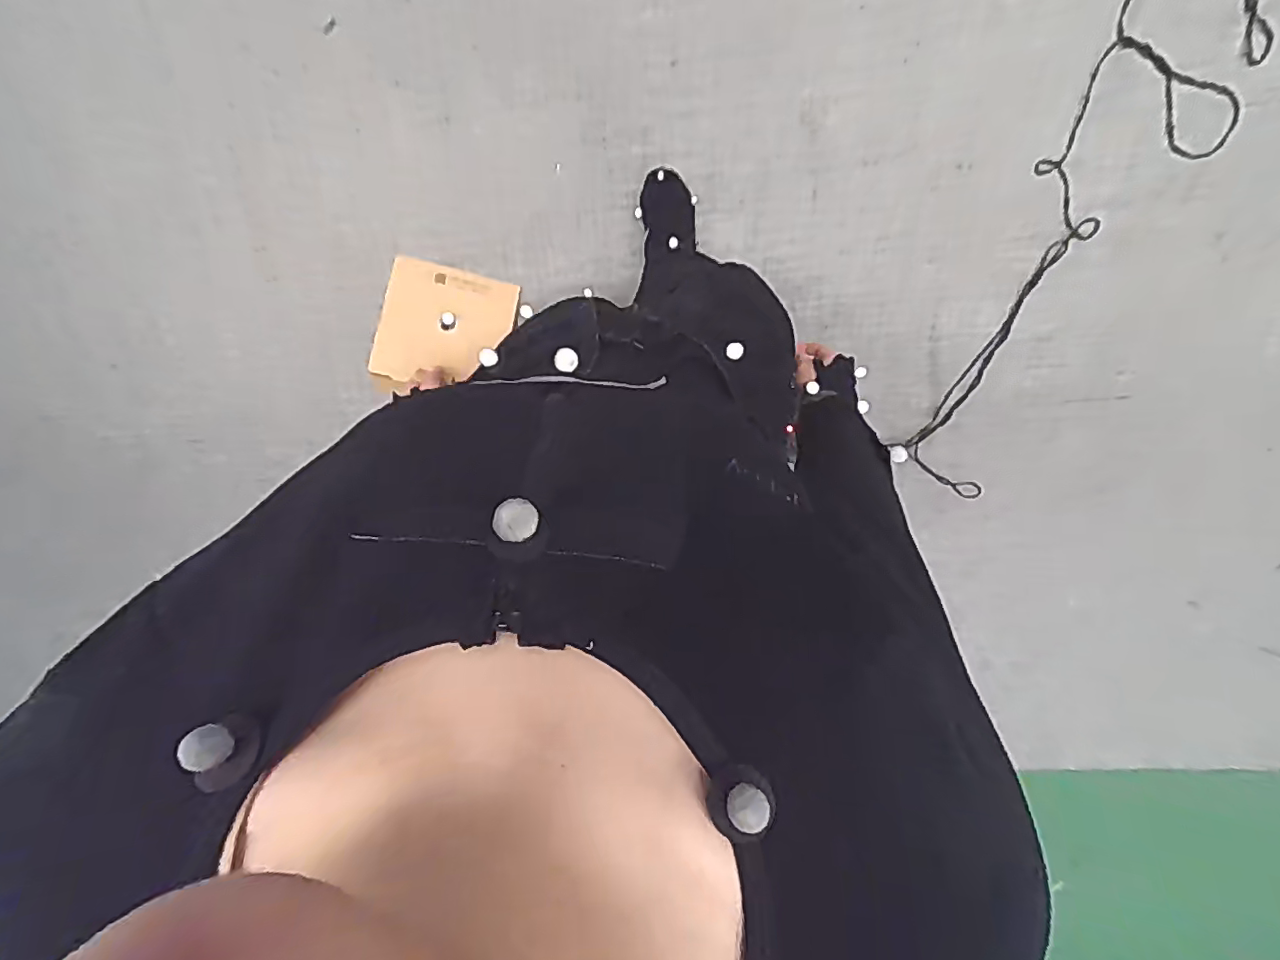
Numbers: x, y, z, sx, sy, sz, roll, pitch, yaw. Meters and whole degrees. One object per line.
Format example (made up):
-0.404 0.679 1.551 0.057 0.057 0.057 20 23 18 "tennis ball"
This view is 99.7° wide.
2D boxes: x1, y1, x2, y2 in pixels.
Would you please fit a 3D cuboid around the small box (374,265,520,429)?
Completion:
-0.274 -0.187 0.796 0.168 0.179 0.176 10 79 -13 "small box"
